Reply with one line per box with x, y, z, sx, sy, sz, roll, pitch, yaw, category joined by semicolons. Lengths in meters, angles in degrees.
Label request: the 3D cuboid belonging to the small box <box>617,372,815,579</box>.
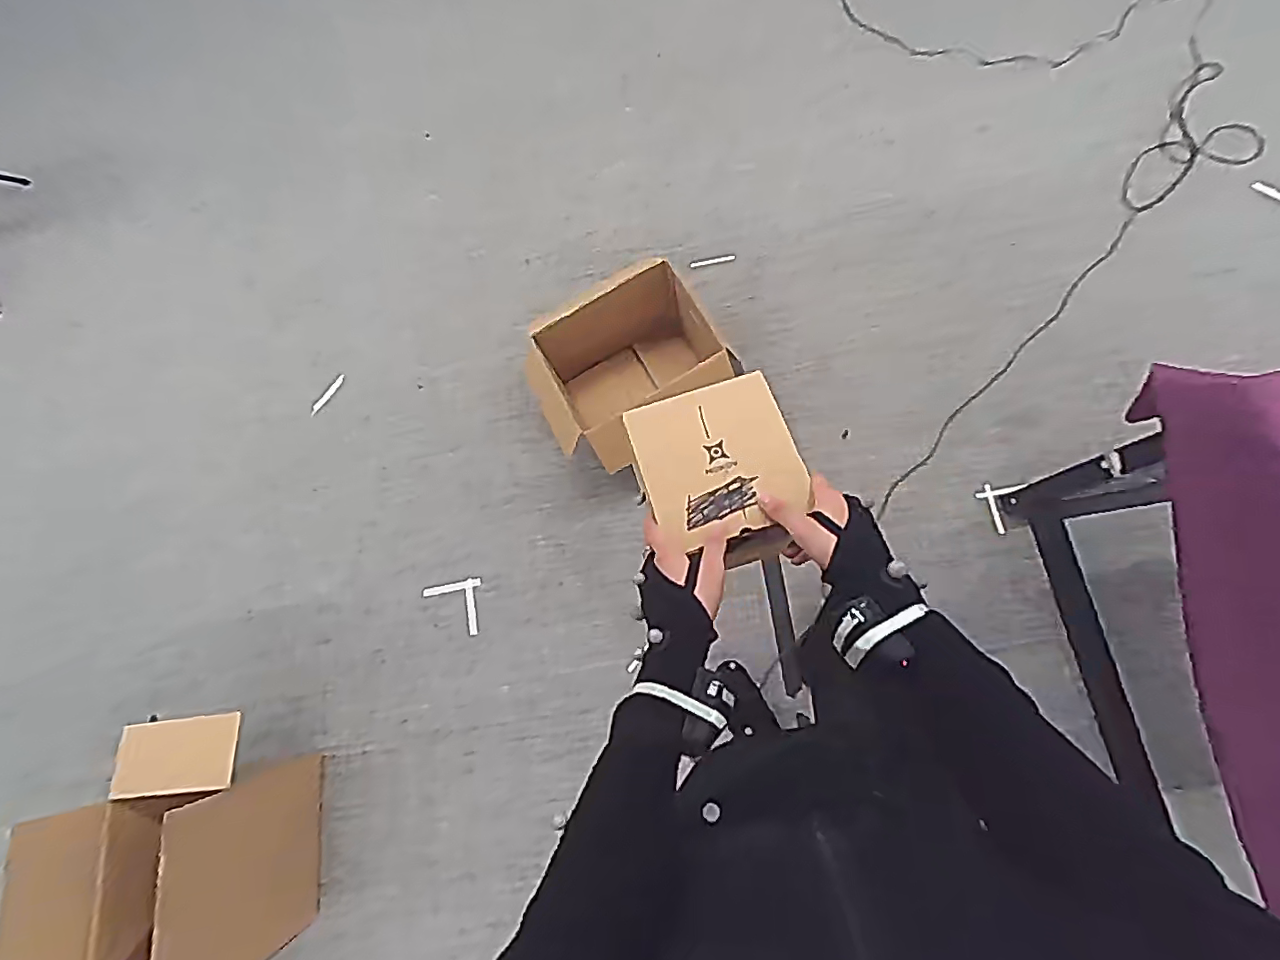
0.083;0.008;0.642;0.168;0.176;0.179;-19;68;-3;small box
